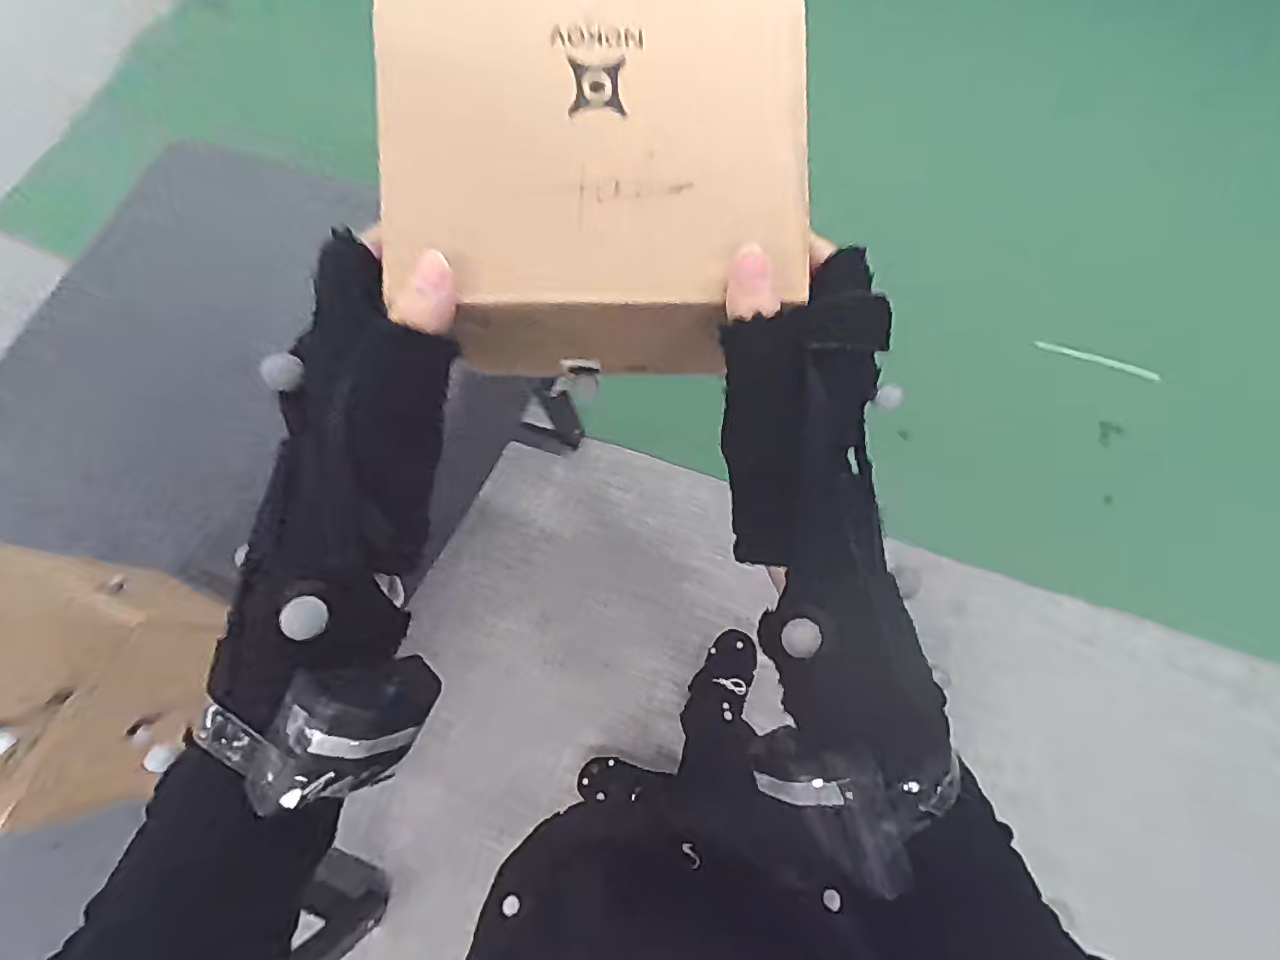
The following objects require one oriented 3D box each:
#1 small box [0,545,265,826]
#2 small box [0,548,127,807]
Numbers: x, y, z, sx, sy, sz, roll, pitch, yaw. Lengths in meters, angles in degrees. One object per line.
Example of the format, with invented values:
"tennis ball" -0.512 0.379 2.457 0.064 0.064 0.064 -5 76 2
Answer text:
"small box" -0.520 0.187 0.522 0.168 0.176 0.179 21 74 10
"small box" -0.535 0.129 0.368 0.179 0.176 0.168 23 74 10
